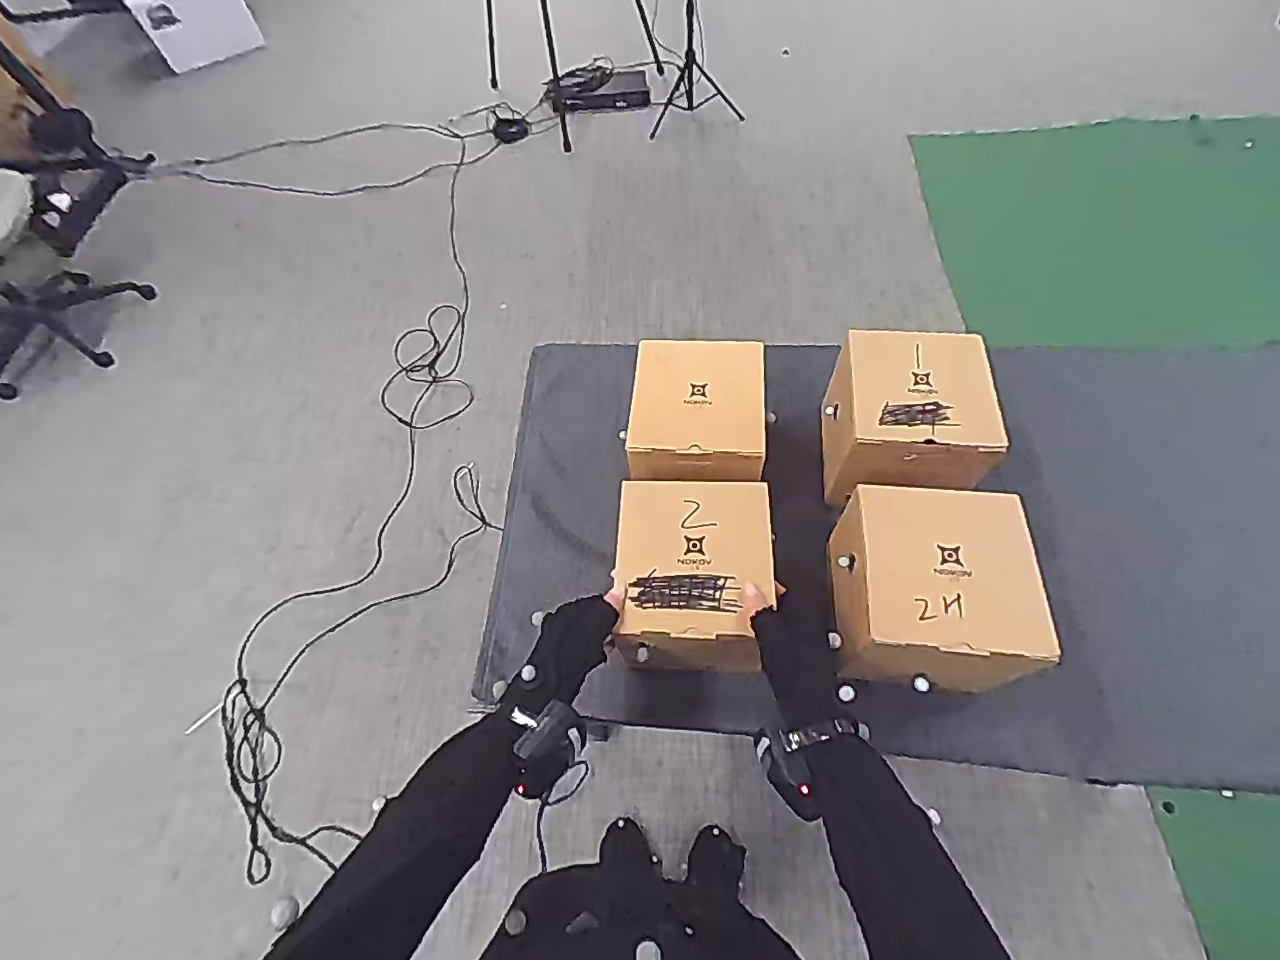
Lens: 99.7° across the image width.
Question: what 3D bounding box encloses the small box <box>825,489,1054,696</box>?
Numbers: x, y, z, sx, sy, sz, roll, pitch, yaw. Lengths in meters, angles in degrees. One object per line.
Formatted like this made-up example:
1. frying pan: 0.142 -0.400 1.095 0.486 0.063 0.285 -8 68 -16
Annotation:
1. small box: 0.313 0.131 0.612 0.168 0.176 0.179 4 60 7
